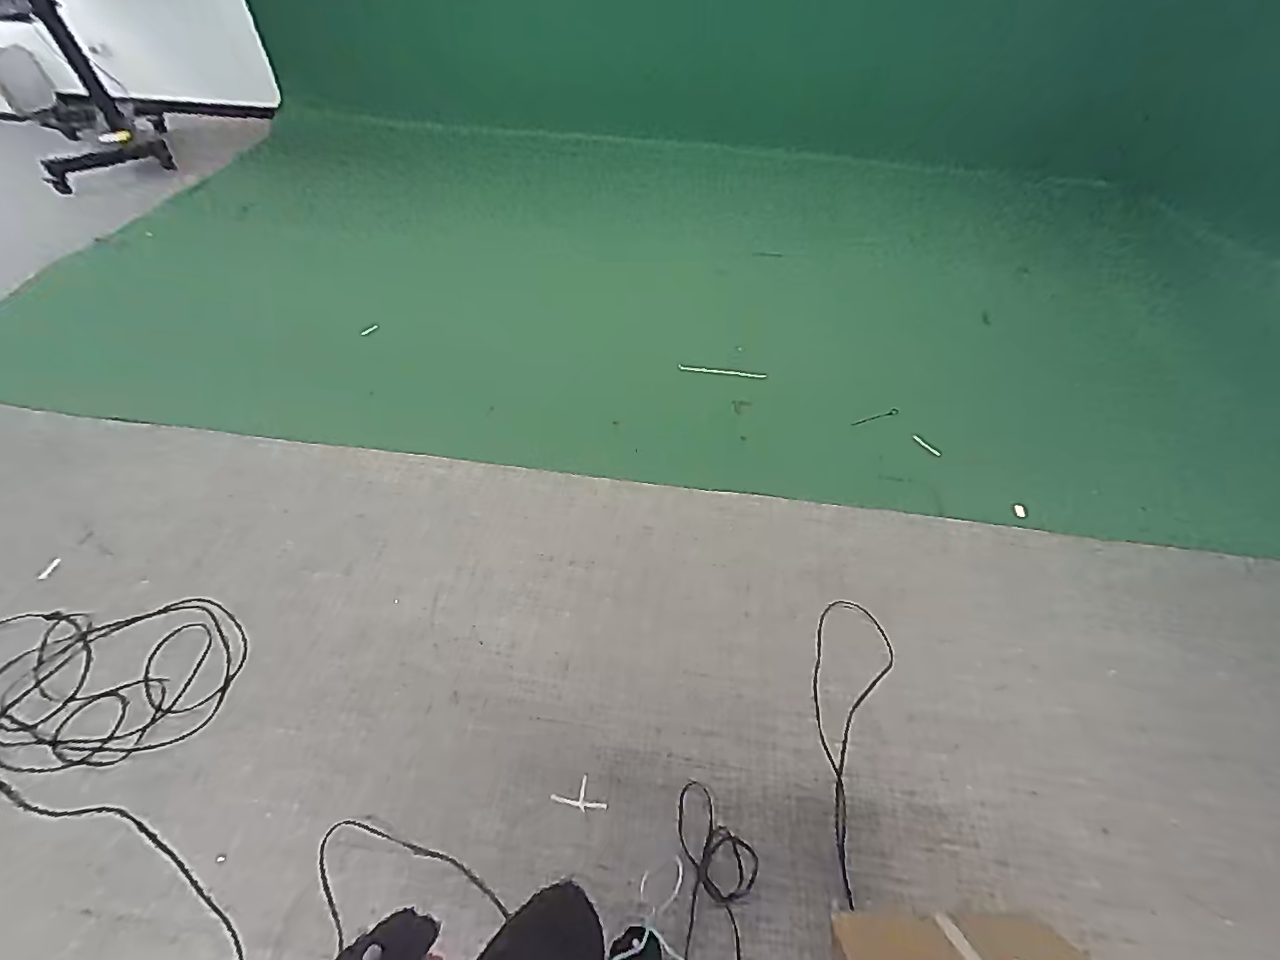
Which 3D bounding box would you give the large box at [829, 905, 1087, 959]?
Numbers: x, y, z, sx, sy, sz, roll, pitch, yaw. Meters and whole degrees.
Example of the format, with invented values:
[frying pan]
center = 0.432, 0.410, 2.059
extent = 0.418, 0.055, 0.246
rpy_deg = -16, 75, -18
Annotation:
[large box]
center = 0.433, 0.767, 0.593
extent = 0.320, 0.408, 0.320
rpy_deg = -1, 83, 2
